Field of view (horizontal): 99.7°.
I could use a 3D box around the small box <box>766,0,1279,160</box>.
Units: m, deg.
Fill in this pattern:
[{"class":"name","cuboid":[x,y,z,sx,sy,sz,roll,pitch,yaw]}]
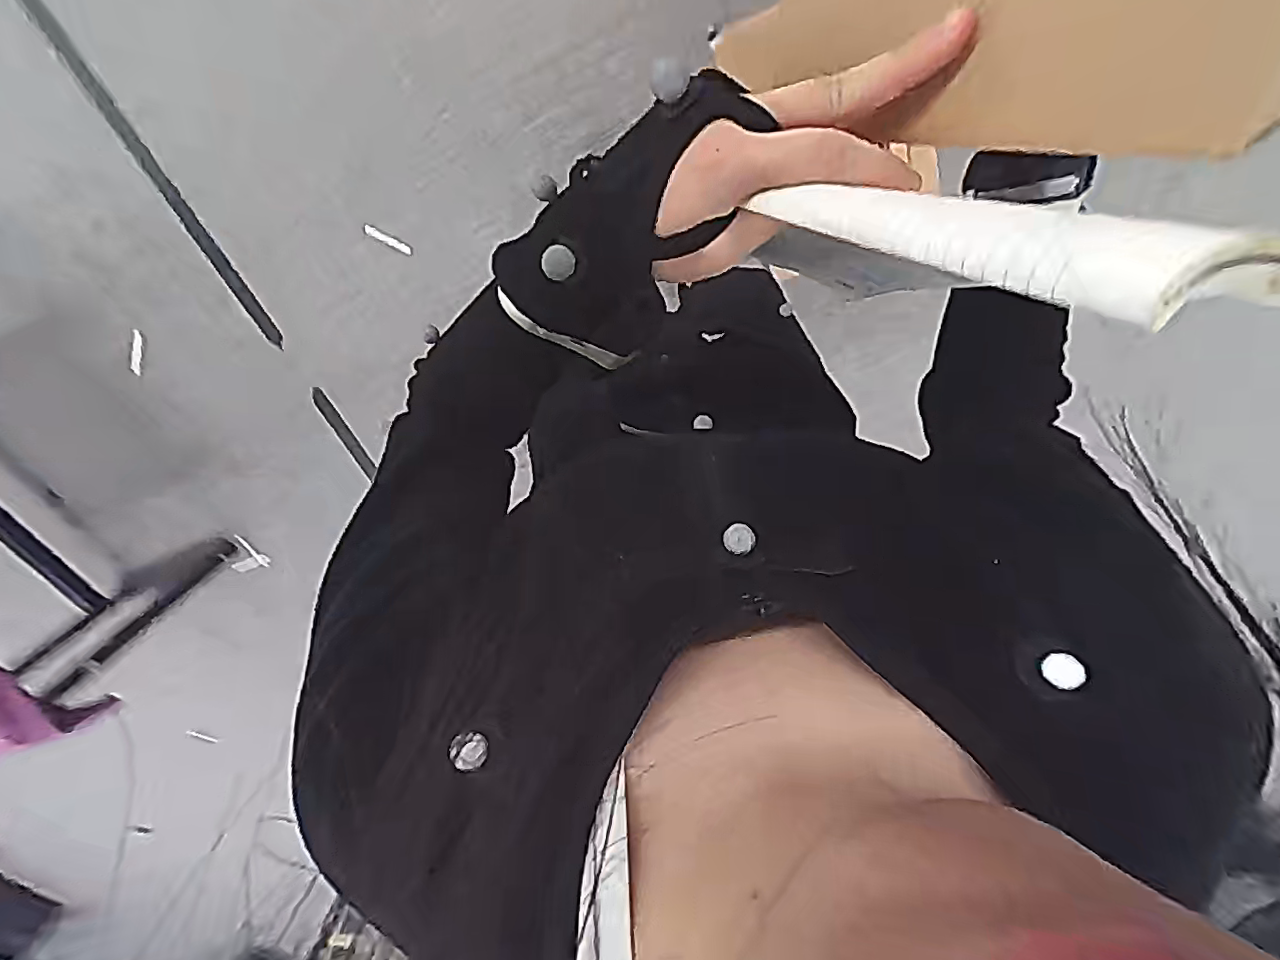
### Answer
[{"class":"small box","cuboid":[0.168,-0.225,0.187,0.179,0.168,0.176,-29,133,-29]}]
